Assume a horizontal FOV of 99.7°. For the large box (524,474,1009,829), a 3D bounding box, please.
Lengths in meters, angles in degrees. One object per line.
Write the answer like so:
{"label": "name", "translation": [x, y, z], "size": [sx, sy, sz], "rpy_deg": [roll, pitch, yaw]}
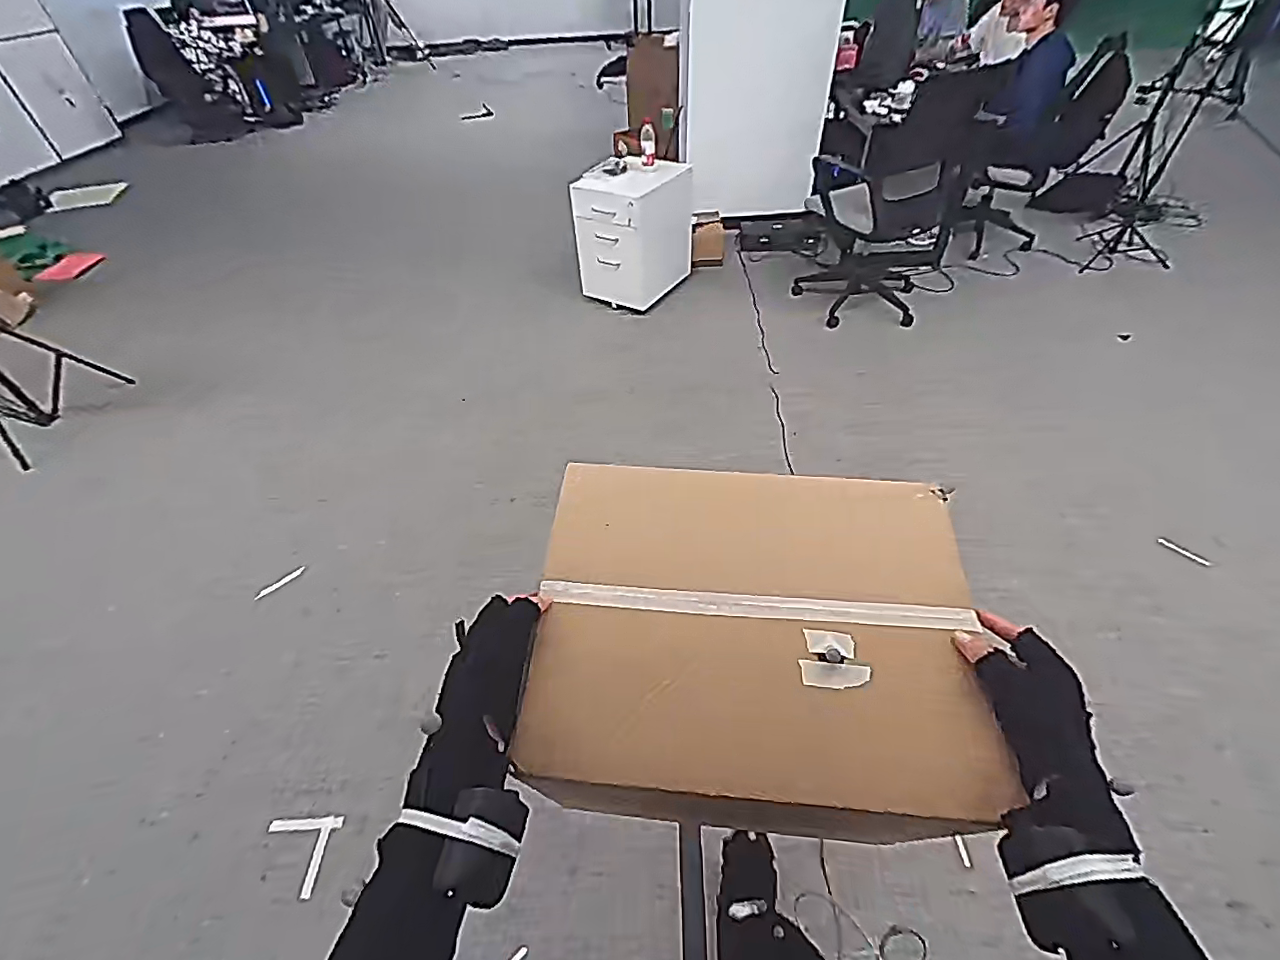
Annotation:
{"label": "large box", "translation": [0.112, 0.211, 0.647], "size": [0.408, 0.320, 0.320], "rpy_deg": [3, 55, 5]}
